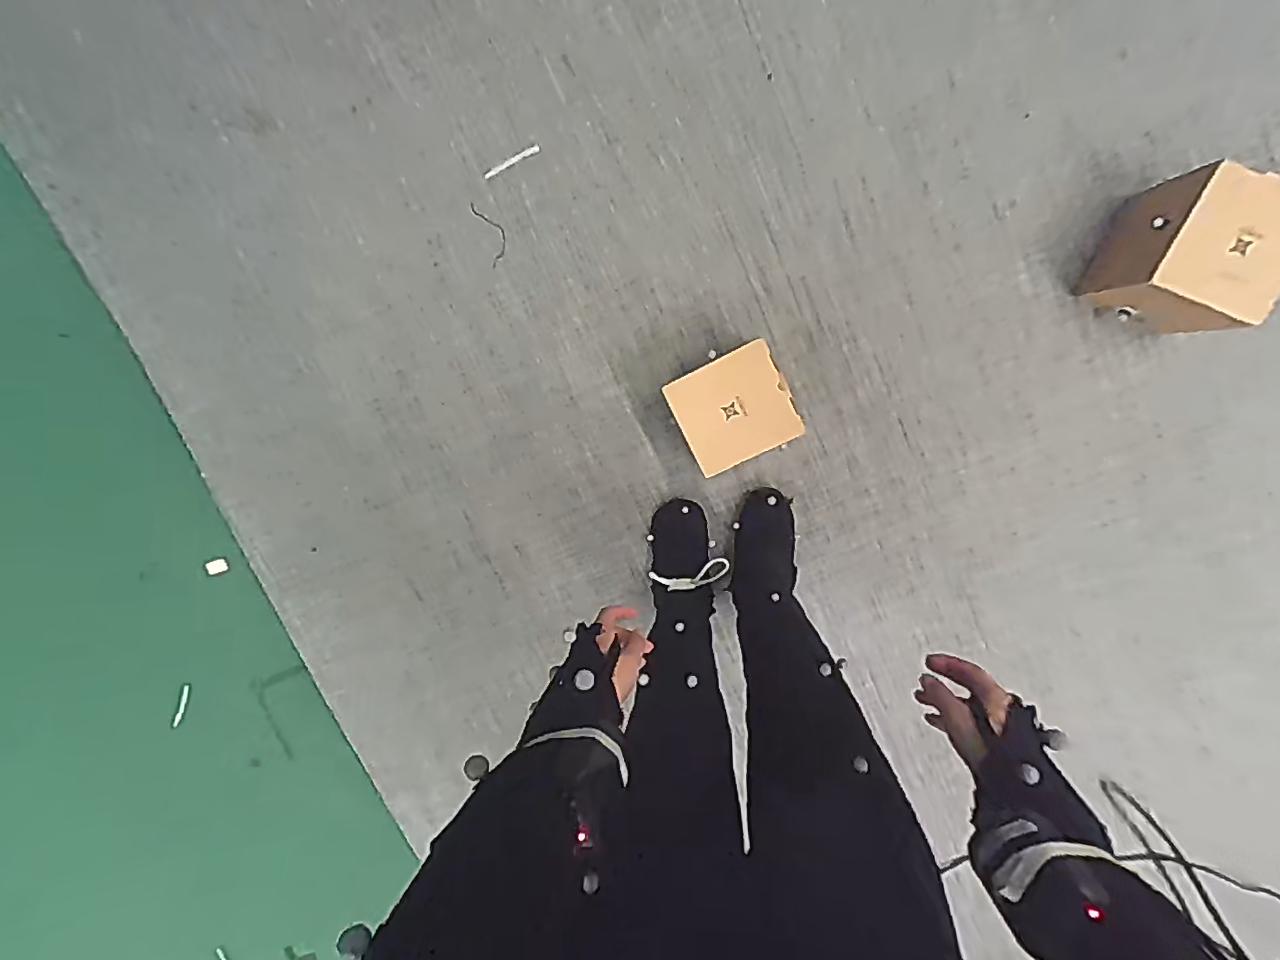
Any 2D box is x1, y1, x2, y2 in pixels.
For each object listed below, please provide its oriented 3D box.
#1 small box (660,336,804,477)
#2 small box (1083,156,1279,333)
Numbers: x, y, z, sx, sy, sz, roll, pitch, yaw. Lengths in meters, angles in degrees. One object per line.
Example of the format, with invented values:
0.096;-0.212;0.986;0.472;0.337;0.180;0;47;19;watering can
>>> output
0.151;-0.123;0.913;0.179;0.176;0.168;-26;97;9;small box
0.827;-0.335;0.808;0.168;0.176;0.179;23;103;2;small box
